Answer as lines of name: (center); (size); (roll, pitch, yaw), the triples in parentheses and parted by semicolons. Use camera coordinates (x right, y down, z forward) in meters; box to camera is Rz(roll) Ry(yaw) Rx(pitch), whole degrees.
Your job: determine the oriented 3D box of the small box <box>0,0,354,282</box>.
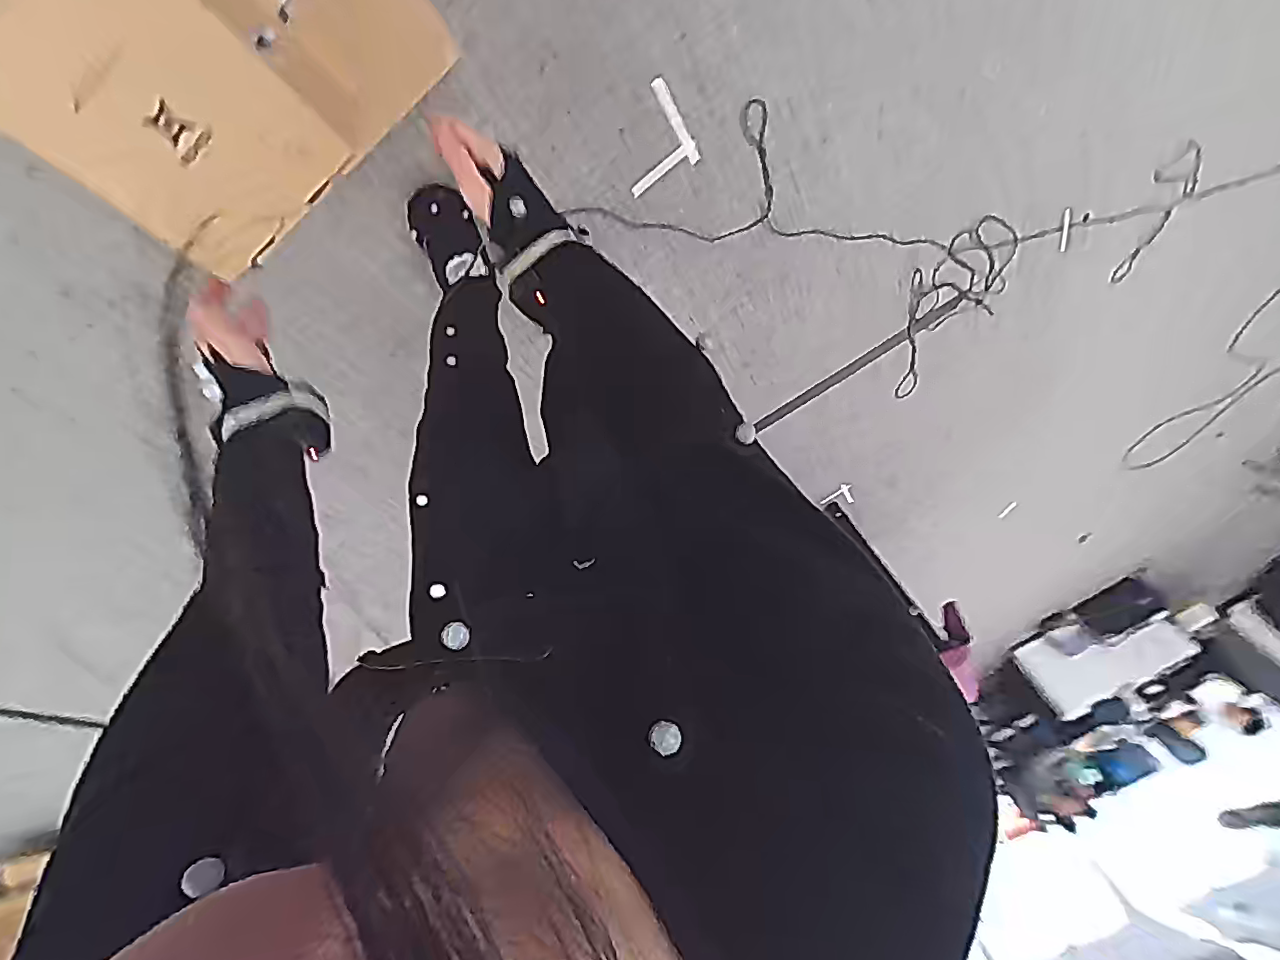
small box: (-0.364, -0.311, 0.449); (0.168, 0.176, 0.179); (-37, 136, 12)
